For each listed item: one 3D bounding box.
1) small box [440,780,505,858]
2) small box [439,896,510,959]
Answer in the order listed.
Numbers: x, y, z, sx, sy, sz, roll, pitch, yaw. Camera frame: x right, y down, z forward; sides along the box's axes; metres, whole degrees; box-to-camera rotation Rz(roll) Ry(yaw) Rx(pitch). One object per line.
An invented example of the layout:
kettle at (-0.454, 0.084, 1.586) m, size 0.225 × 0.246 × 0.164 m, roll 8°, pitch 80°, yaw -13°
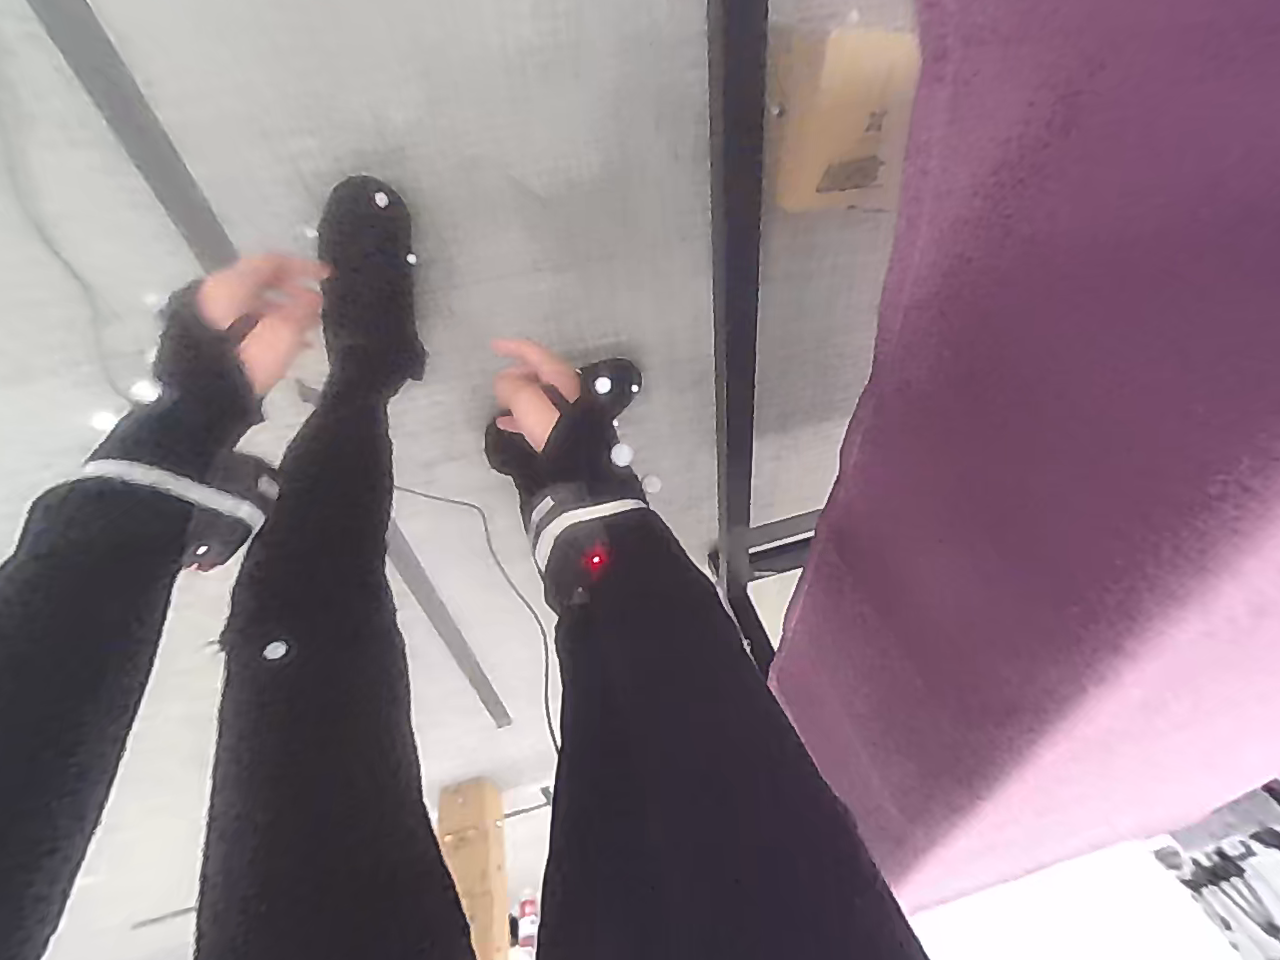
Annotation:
small box at (-0.567, 1.159, 1.852) m, size 0.168 × 0.176 × 0.179 m, roll -16°, pitch 133°, yaw -3°
small box at (-0.490, 1.376, 1.619) m, size 0.168 × 0.176 × 0.179 m, roll -13°, pitch 133°, yaw -5°
